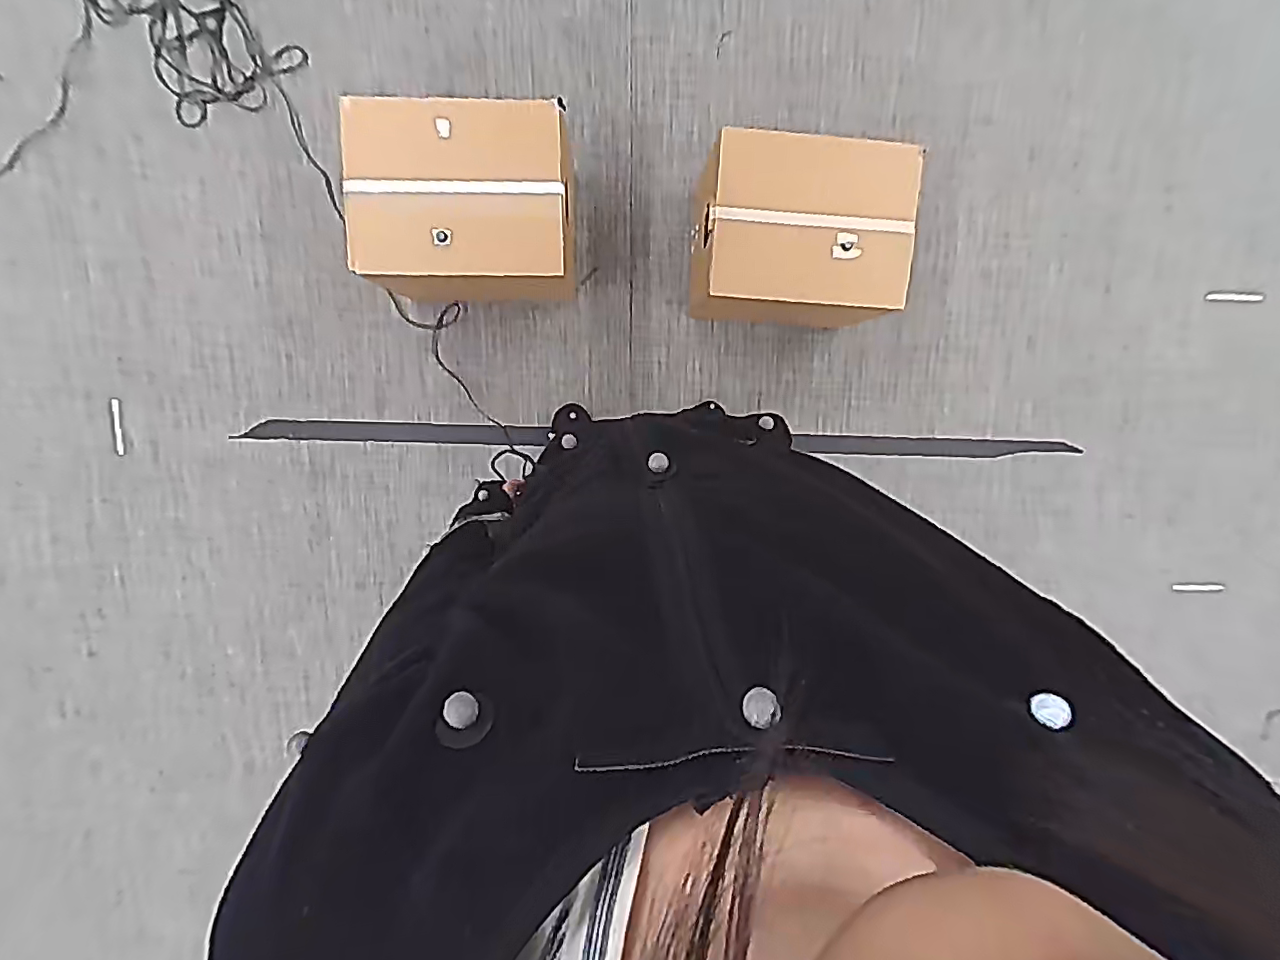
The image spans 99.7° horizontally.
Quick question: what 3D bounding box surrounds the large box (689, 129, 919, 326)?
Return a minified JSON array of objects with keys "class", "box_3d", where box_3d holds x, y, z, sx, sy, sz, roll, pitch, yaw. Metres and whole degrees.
[{"class":"large box","box_3d":[0.336,-0.536,1.218,0.408,0.320,0.320,3,99,-4]}]
